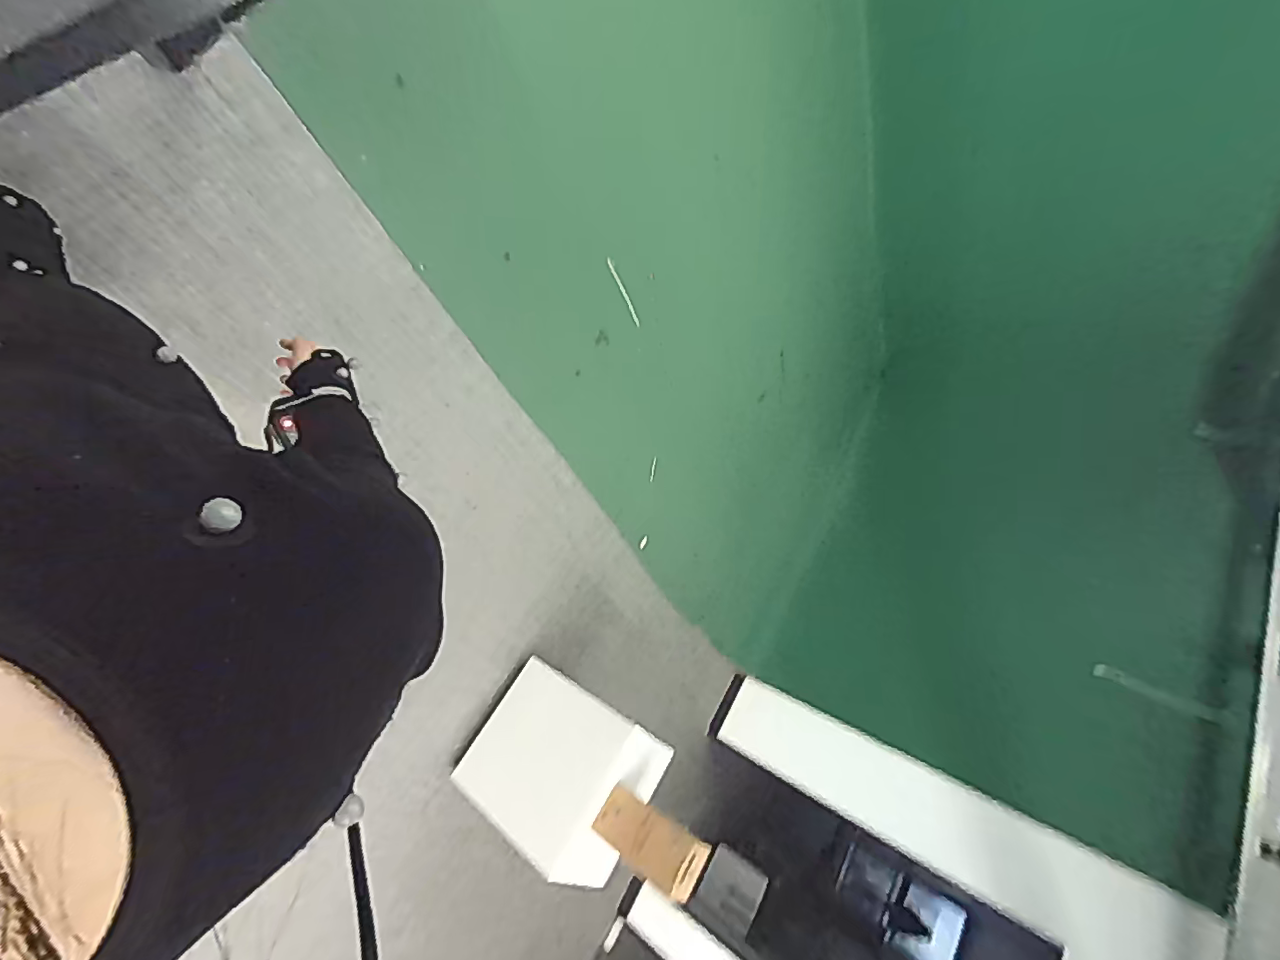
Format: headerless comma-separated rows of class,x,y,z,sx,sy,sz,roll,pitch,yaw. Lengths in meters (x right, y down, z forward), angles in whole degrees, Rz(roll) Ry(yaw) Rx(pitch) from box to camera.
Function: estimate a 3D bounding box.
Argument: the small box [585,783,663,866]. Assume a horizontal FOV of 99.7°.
small box,-0.054,1.150,1.811,0.168,0.176,0.179,-55,141,-24
